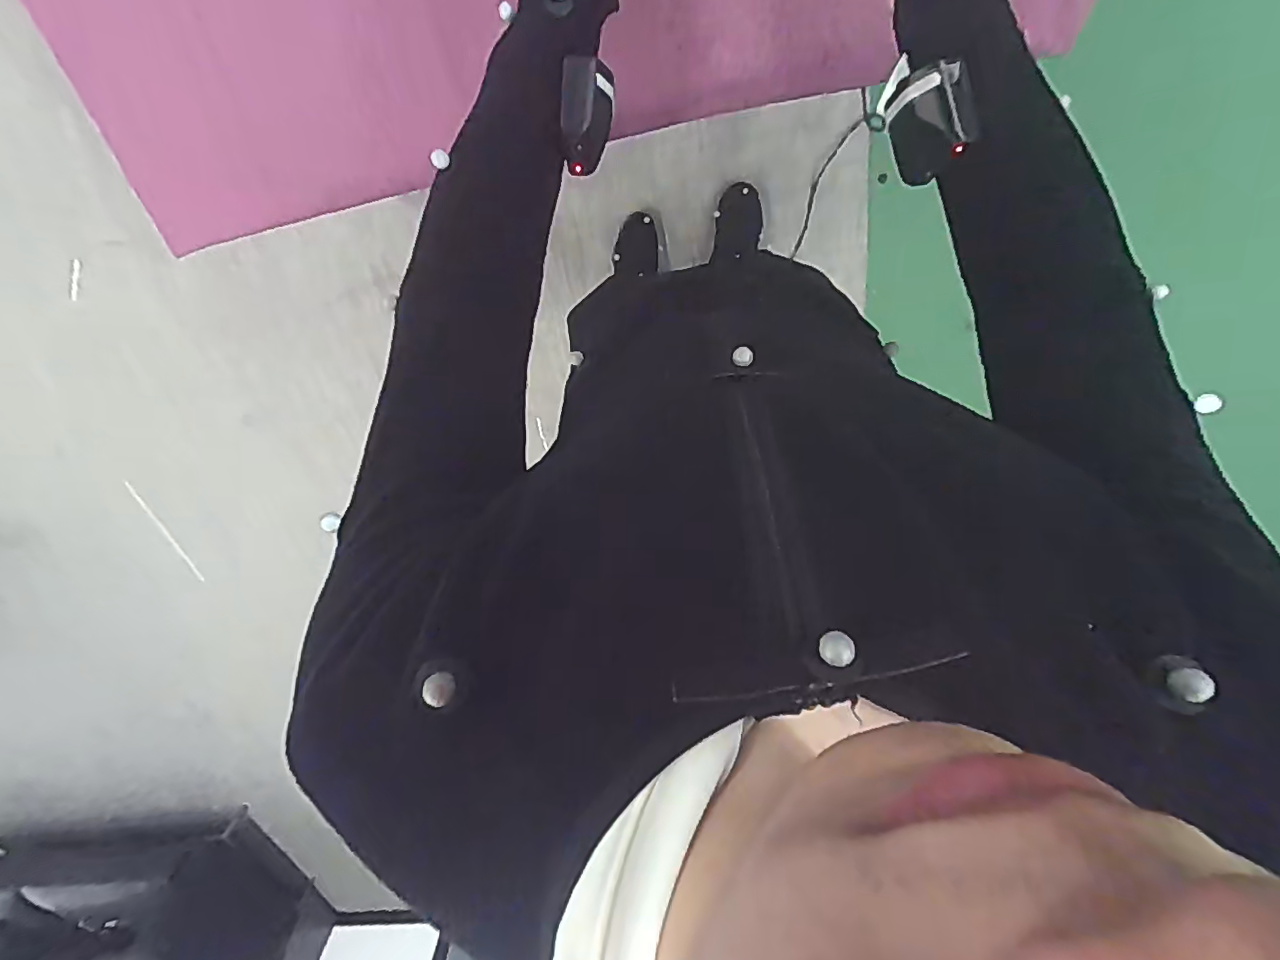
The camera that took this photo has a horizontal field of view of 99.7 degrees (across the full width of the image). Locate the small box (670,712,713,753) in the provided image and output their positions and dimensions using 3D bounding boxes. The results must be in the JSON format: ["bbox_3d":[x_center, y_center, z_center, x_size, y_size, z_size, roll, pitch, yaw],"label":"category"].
[{"bbox_3d":[0.218,1.124,2.326,0.179,0.176,0.168,0,120,4],"label":"small box"}]

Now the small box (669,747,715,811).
[{"bbox_3d":[0.207,1.201,2.180,0.179,0.176,0.168,-1,121,3],"label":"small box"}]
